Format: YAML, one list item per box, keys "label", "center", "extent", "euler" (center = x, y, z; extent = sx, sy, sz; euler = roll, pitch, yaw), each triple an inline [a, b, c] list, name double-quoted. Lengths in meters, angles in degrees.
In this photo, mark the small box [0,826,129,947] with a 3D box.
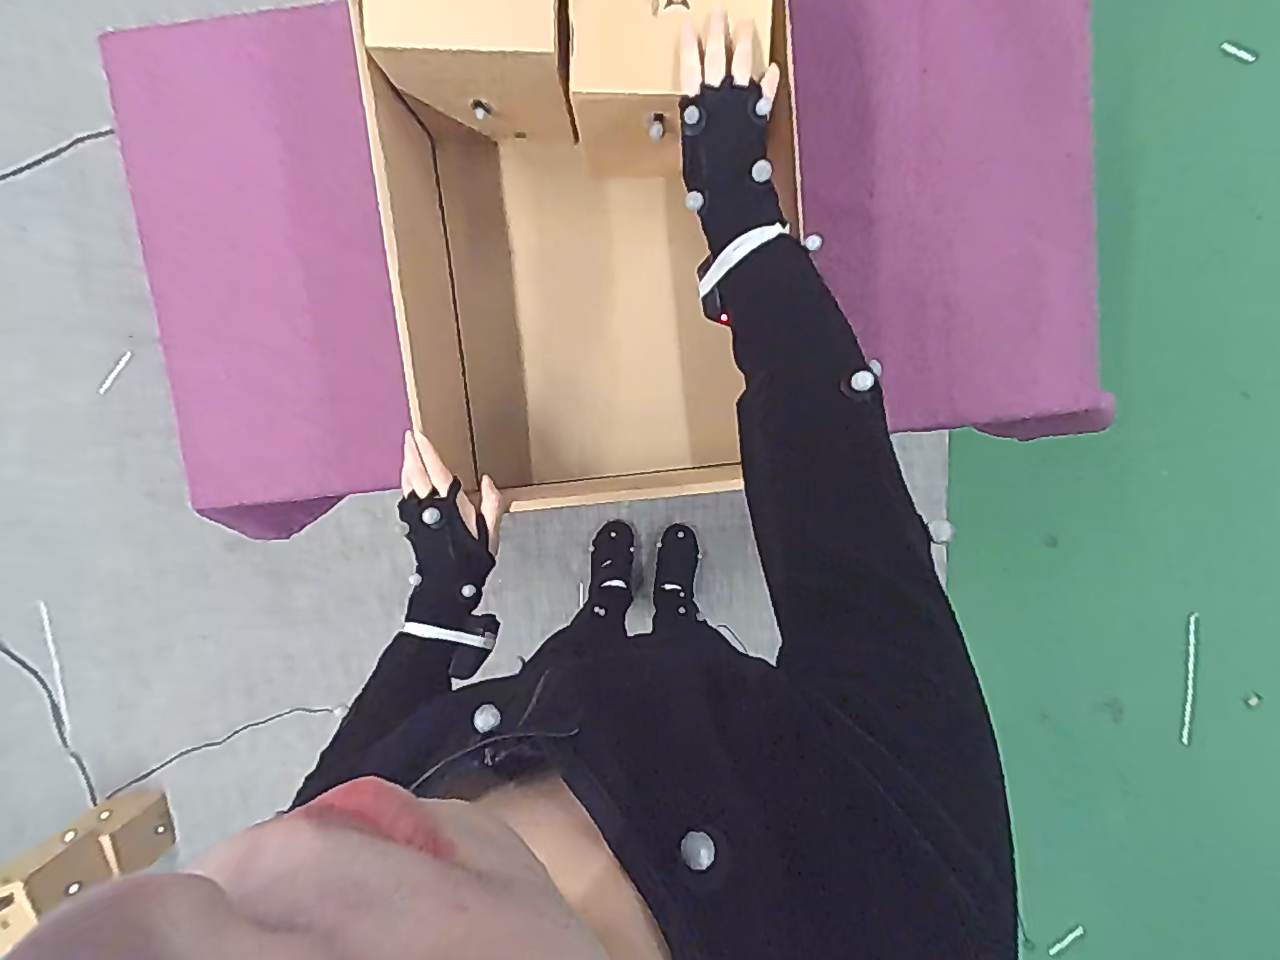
- label: "small box"
  center: [-1.482, 1.024, 1.381]
  extent: [0.168, 0.176, 0.179]
  euler: [-16, 96, 4]
